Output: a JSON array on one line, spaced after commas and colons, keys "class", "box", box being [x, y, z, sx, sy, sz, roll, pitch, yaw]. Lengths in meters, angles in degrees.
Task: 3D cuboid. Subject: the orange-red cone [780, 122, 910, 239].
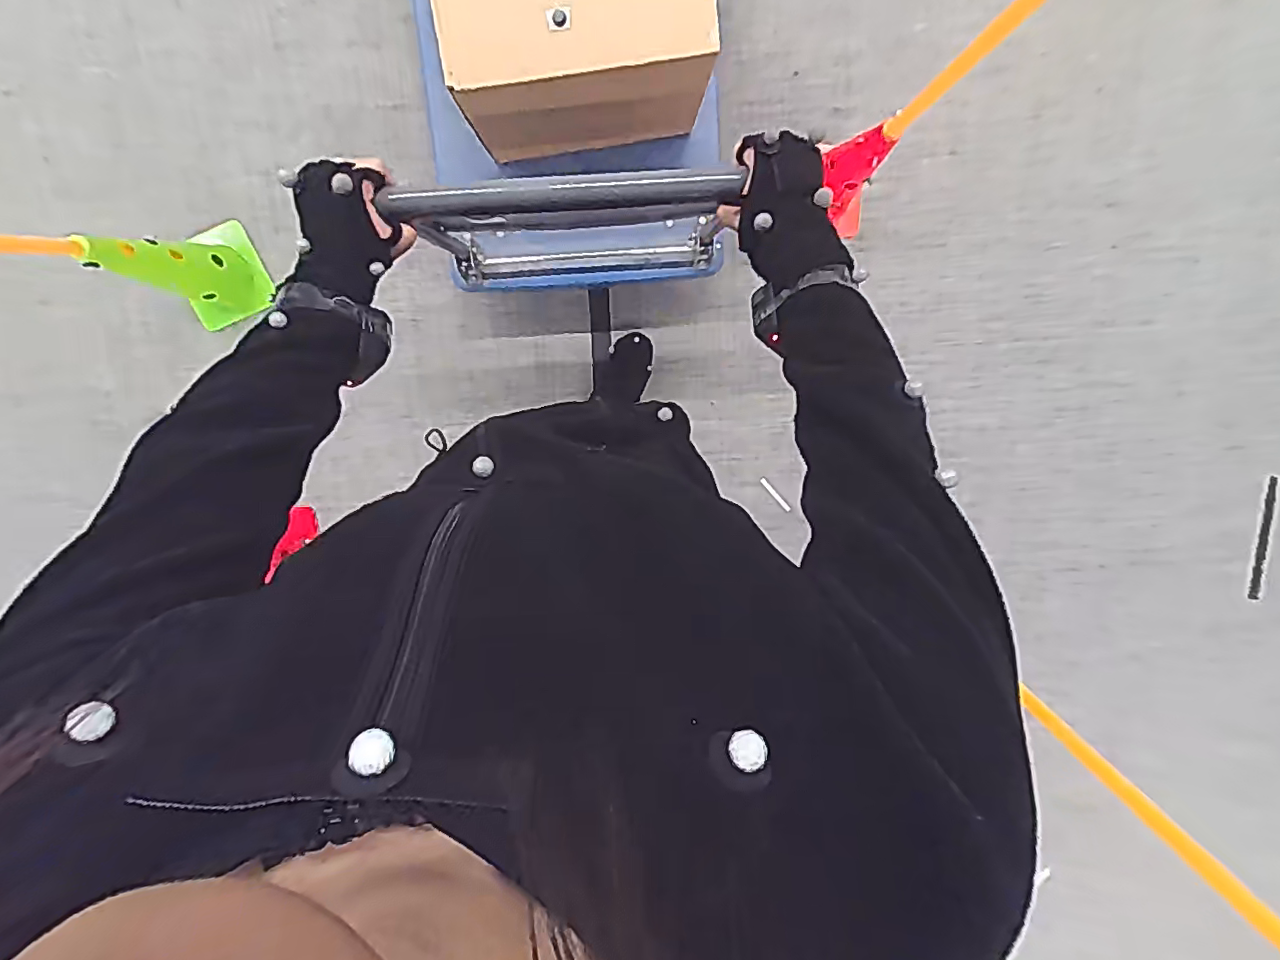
[{"class": "orange-red cone", "box": [0.446, -0.644, 1.110, 0.199, 0.360, 0.198, 3, 103, -4]}]
